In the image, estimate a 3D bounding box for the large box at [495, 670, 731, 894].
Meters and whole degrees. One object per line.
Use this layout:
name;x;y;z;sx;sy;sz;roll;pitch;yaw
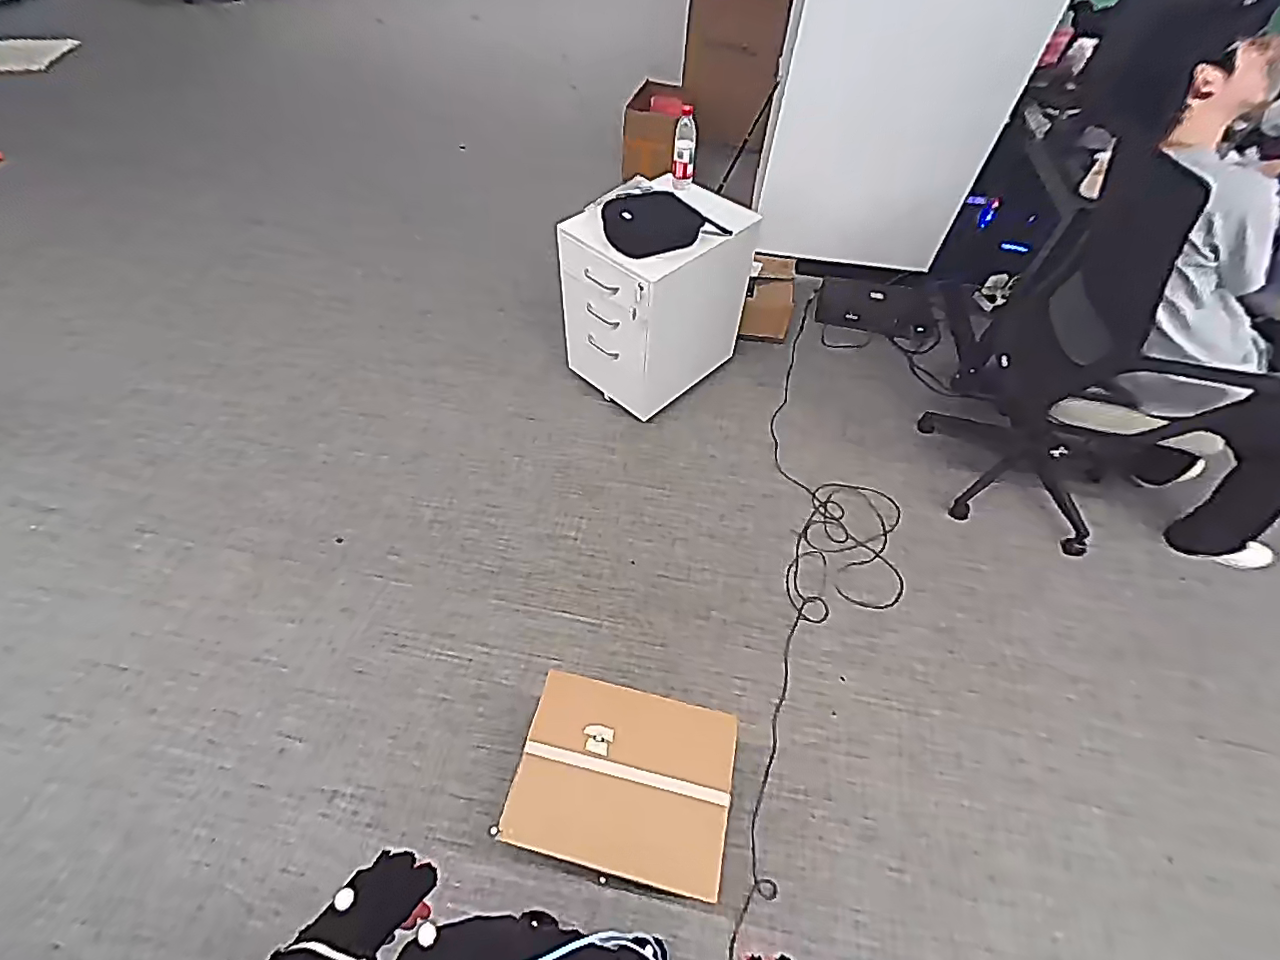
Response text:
large box;-0.040;0.647;1.161;0.408;0.320;0.320;12;54;6
